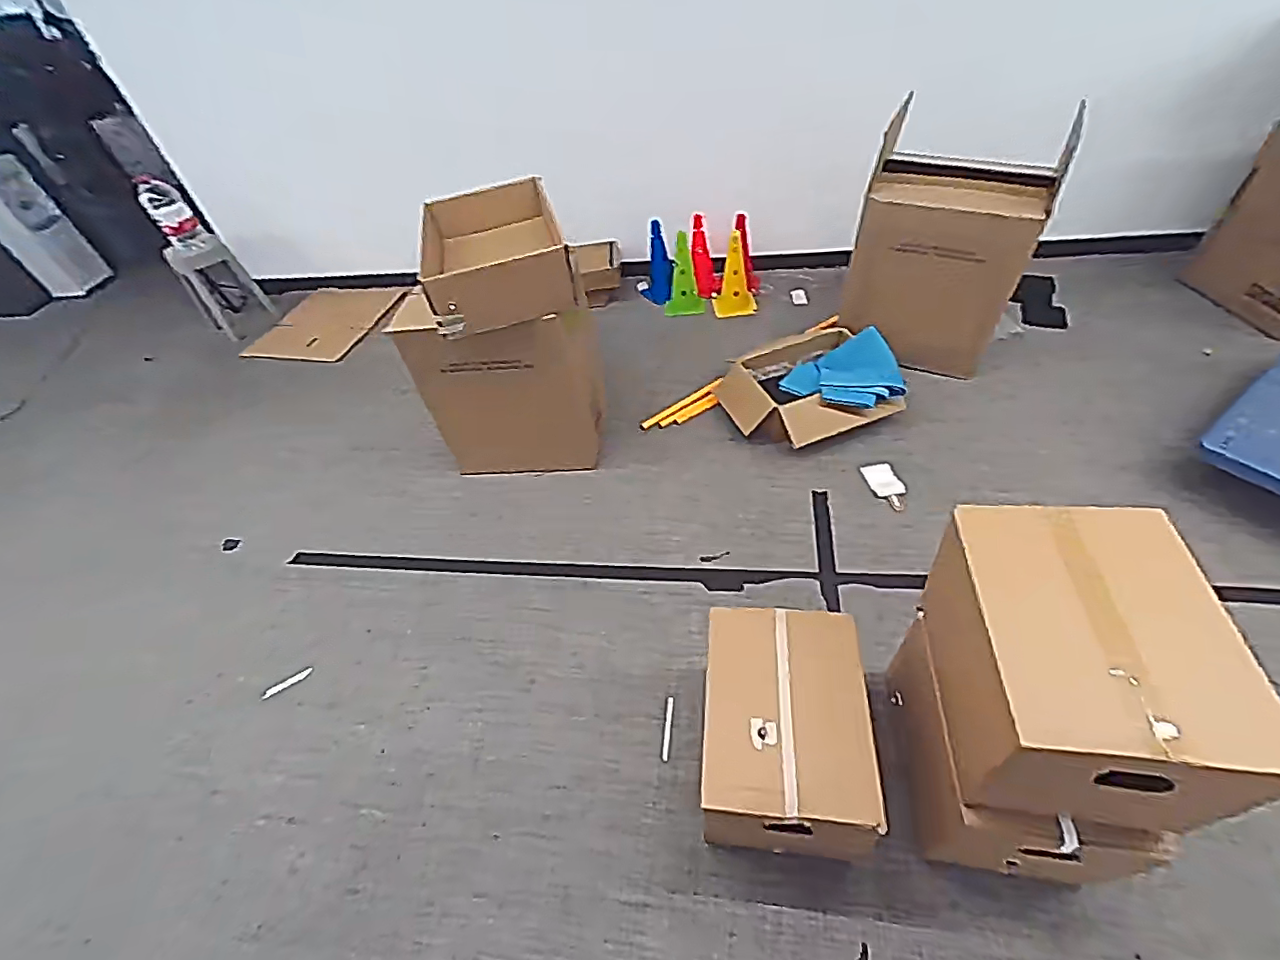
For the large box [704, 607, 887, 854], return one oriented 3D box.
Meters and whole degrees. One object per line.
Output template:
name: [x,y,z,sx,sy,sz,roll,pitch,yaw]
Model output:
large box: [0.301,0.531,1.168,0.320,0.320,0.408,0,48,10]
